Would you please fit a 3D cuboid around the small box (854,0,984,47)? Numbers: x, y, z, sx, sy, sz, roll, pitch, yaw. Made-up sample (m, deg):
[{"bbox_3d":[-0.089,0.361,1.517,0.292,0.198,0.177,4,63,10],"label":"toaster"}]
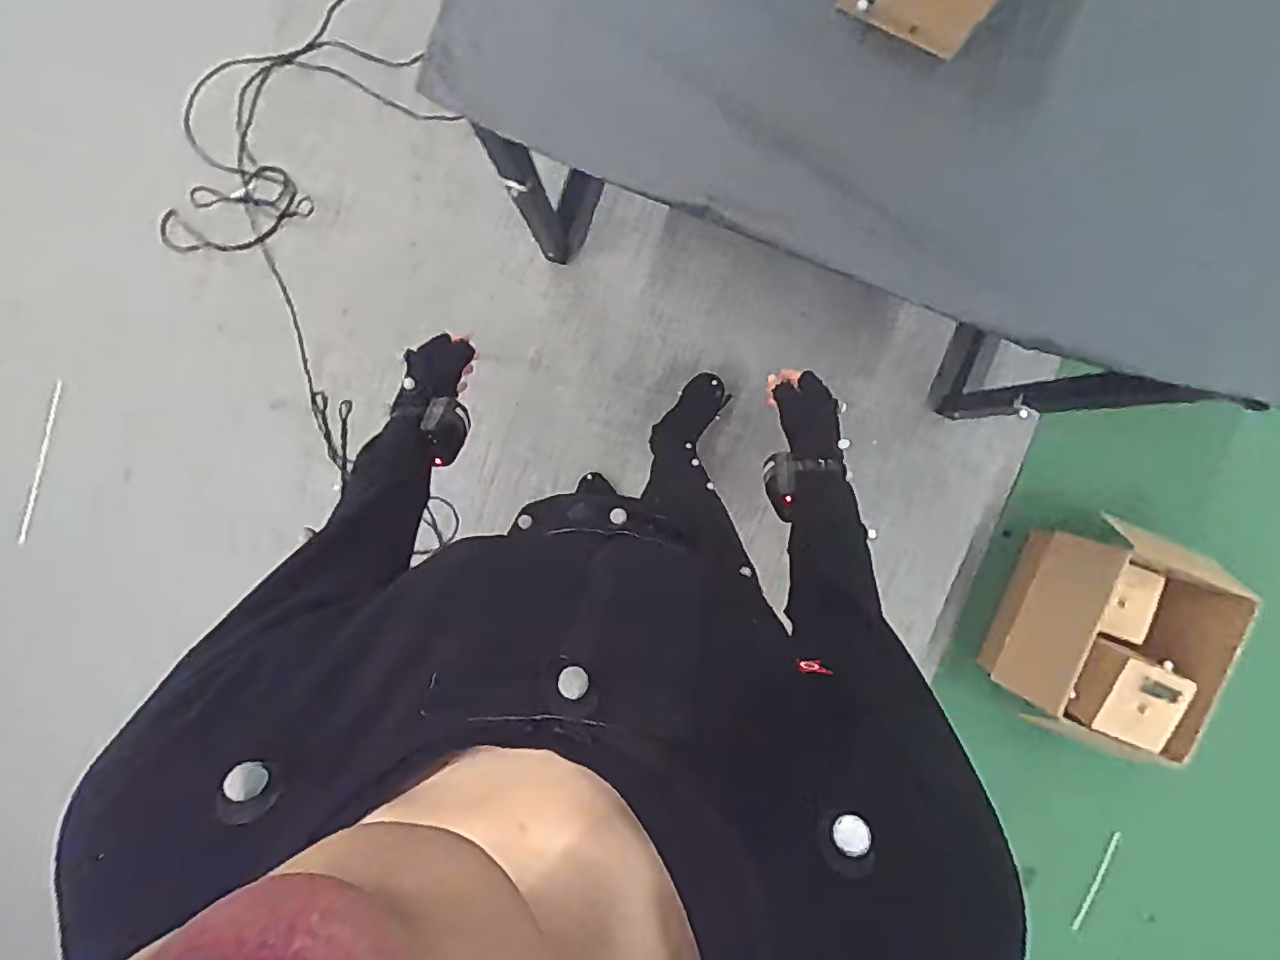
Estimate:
[{"bbox_3d":[0.352,-0.649,0.604,0.168,0.176,0.179,24,93,-2],"label":"small box"}]
